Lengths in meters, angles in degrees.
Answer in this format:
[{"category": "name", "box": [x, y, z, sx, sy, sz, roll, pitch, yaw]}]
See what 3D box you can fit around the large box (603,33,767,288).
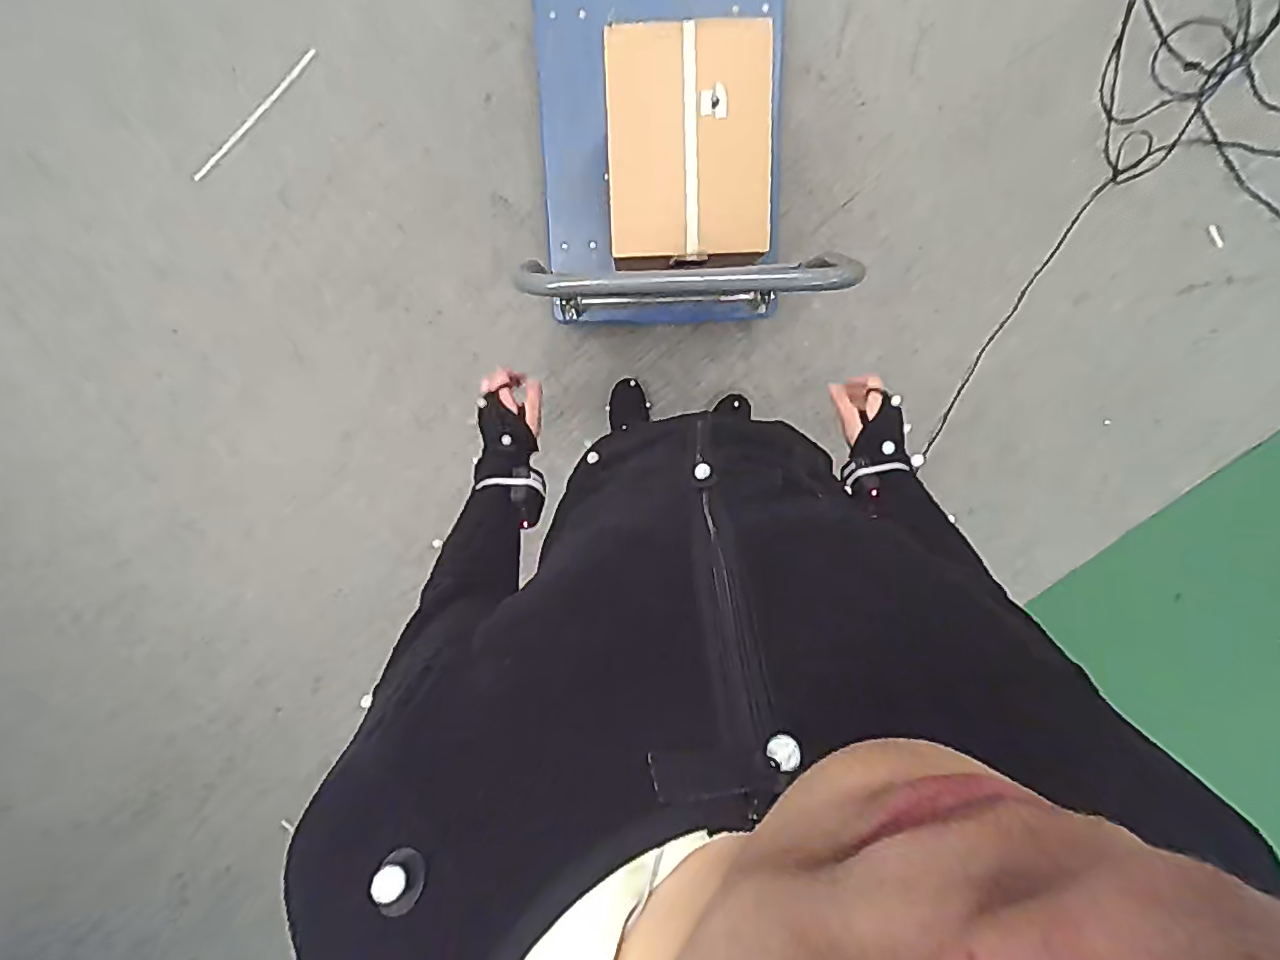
[{"category": "large box", "box": [0.094, -0.666, 1.199, 0.320, 0.320, 0.408, -2, 100, 0]}]
